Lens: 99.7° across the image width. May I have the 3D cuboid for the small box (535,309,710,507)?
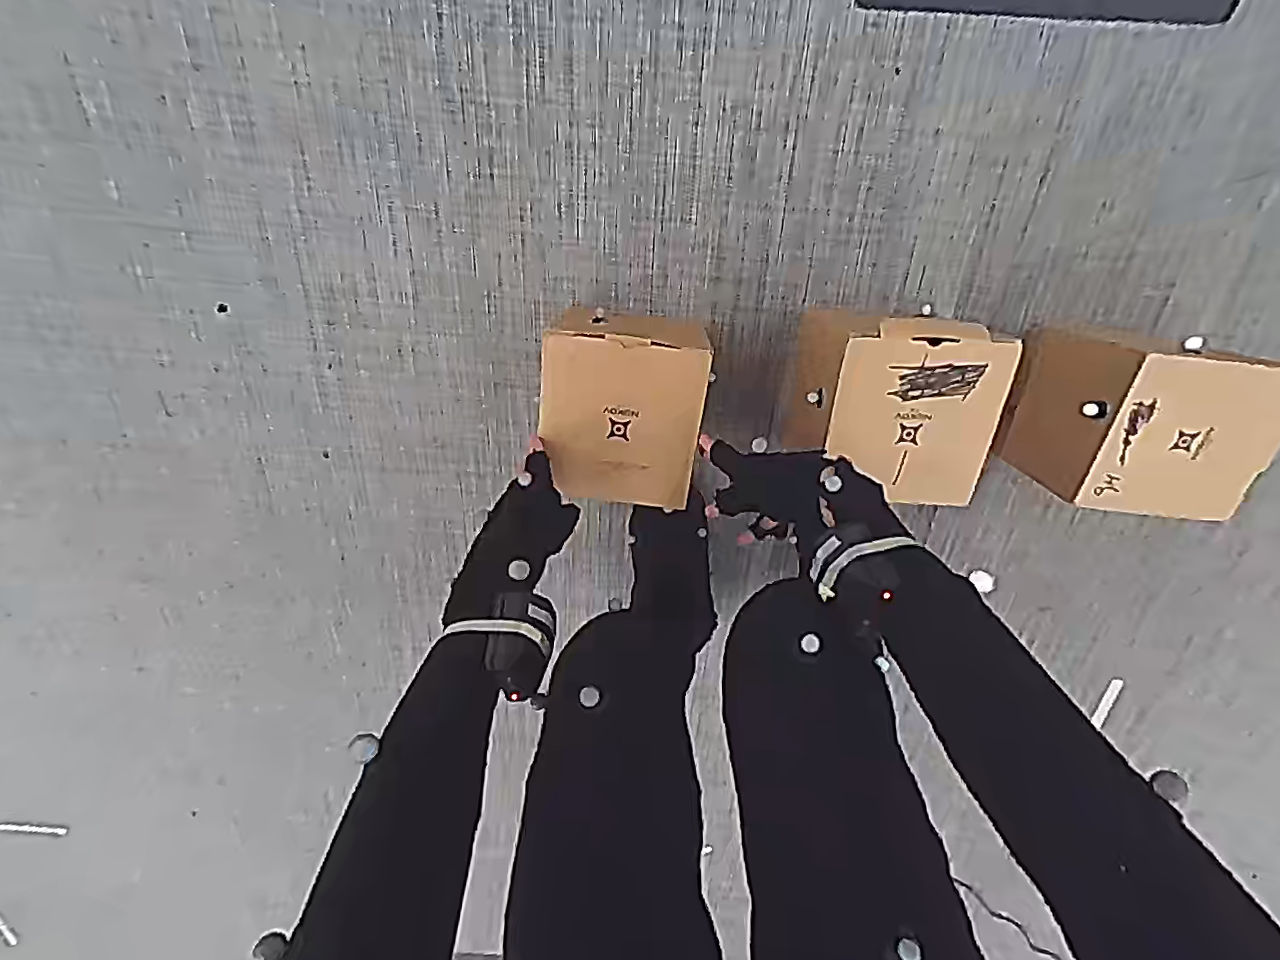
[{"bbox_3d":[-0.020,-0.091,0.620,0.168,0.176,0.179,7,116,0],"label":"small box"}]

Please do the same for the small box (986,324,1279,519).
[{"bbox_3d":[0.544,-0.073,0.610,0.179,0.176,0.168,6,115,-2],"label":"small box"}]

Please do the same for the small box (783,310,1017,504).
[{"bbox_3d":[0.268,-0.090,0.608,0.168,0.176,0.179,3,116,1],"label":"small box"}]
